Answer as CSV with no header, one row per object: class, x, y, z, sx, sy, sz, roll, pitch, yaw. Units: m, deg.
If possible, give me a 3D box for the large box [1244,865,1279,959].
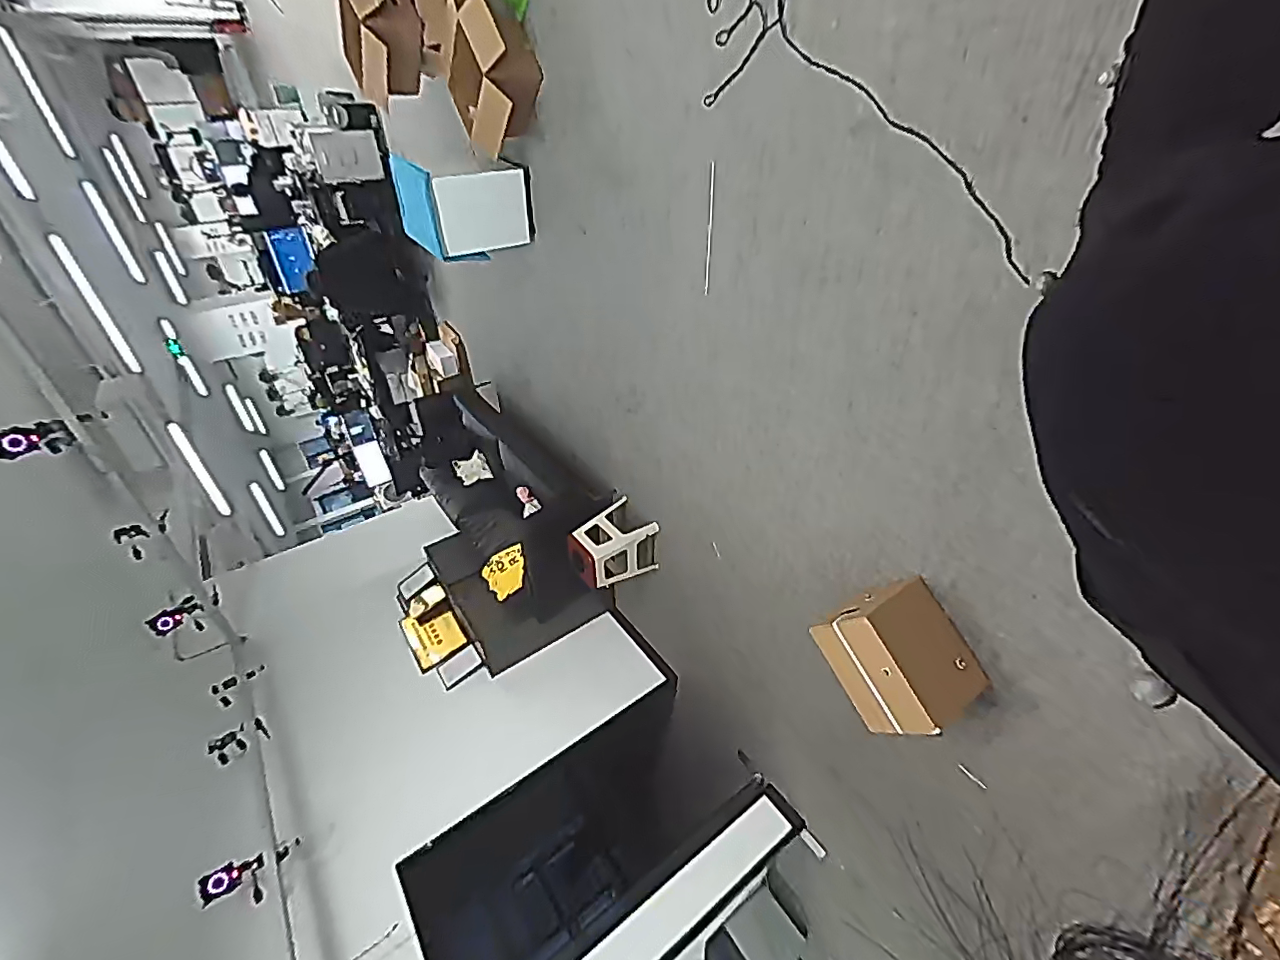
large box,1.547,0.976,1.066,0.408,0.320,0.320,25,133,50
